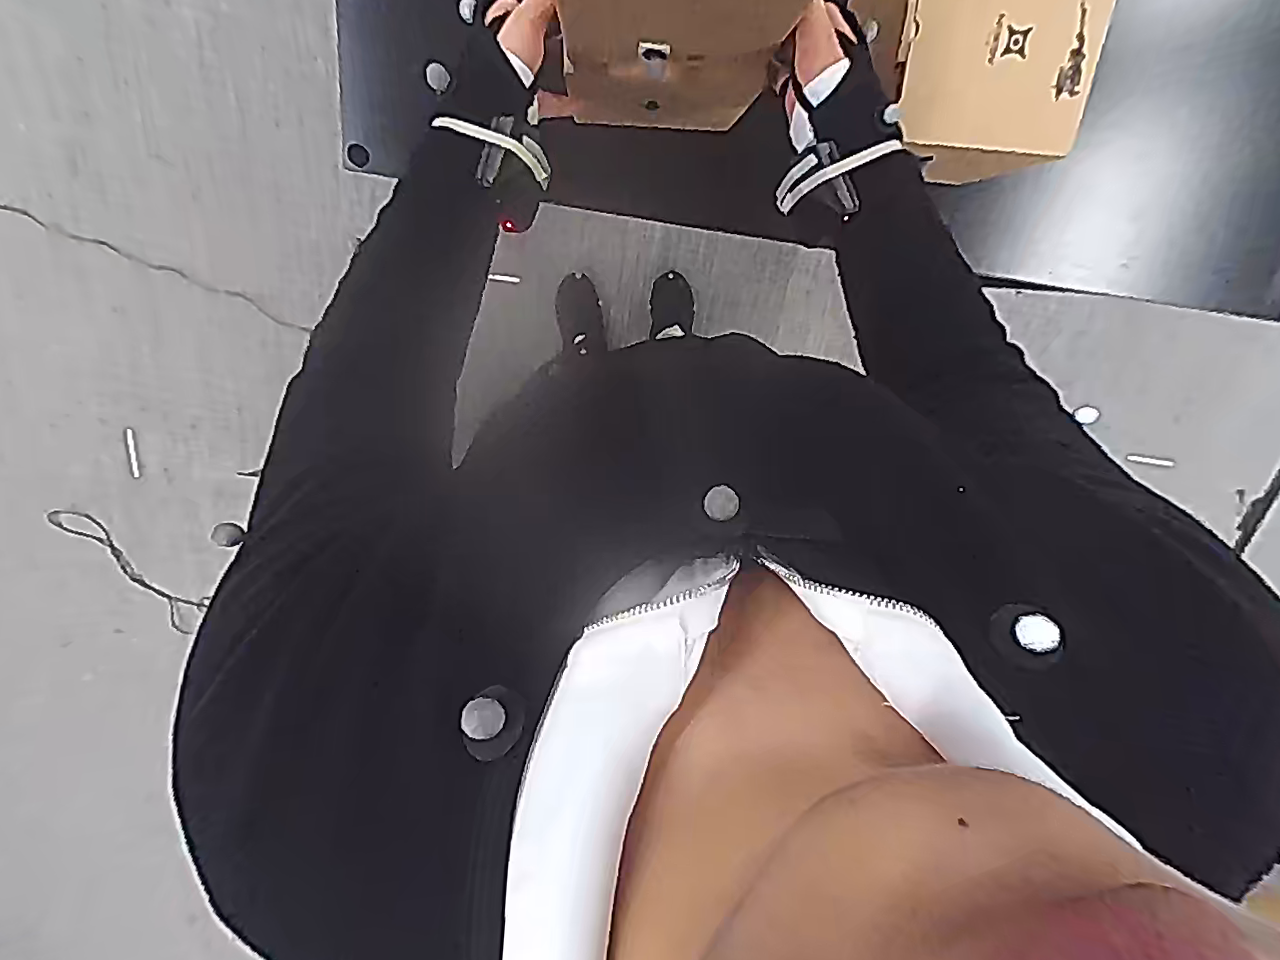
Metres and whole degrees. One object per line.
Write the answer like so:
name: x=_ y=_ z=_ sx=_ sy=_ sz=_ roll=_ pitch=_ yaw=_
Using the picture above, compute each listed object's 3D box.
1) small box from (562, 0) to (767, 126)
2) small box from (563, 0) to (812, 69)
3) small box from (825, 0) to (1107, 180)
small box: x=0.021 y=-0.448 z=0.506 sx=0.179 sy=0.176 sz=0.168 roll=2 pitch=111 yaw=-3
small box: x=0.028 y=-0.401 z=0.350 sx=0.168 sy=0.176 sz=0.179 roll=-1 pitch=112 yaw=-2
small box: x=0.305 y=-0.409 z=0.539 sx=0.179 sy=0.176 sz=0.168 roll=3 pitch=111 yaw=-3
